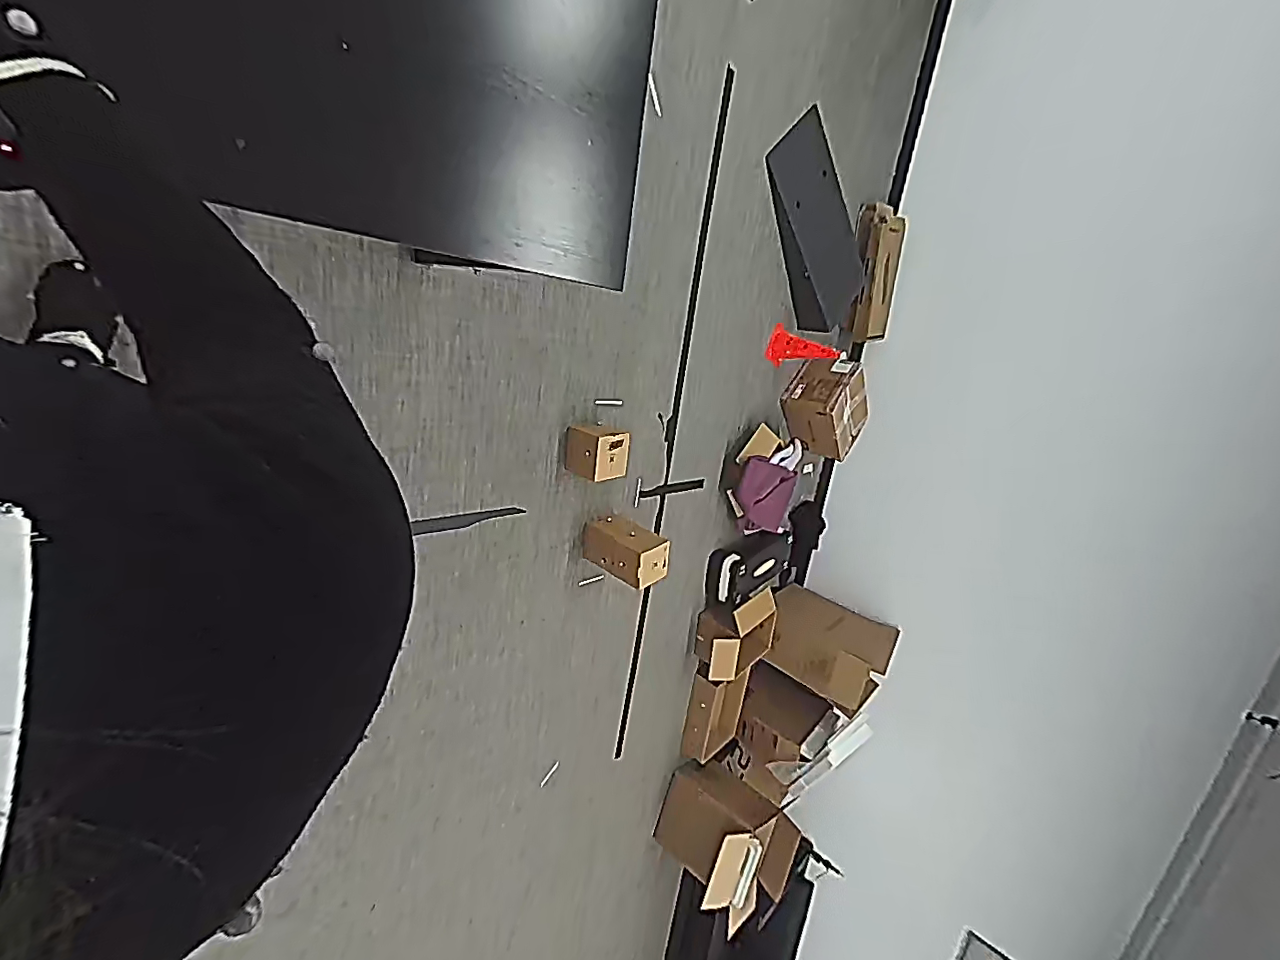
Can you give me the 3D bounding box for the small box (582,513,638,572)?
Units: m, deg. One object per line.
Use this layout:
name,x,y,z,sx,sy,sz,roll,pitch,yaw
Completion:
small box,-0.129,0.262,2.295,0.168,0.176,0.179,-17,119,-46

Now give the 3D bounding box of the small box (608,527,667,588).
small box,-0.015,0.308,2.188,0.179,0.176,0.168,-18,120,-44

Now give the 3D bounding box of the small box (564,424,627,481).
small box,-0.172,-0.113,2.063,0.168,0.176,0.179,-13,117,-47
